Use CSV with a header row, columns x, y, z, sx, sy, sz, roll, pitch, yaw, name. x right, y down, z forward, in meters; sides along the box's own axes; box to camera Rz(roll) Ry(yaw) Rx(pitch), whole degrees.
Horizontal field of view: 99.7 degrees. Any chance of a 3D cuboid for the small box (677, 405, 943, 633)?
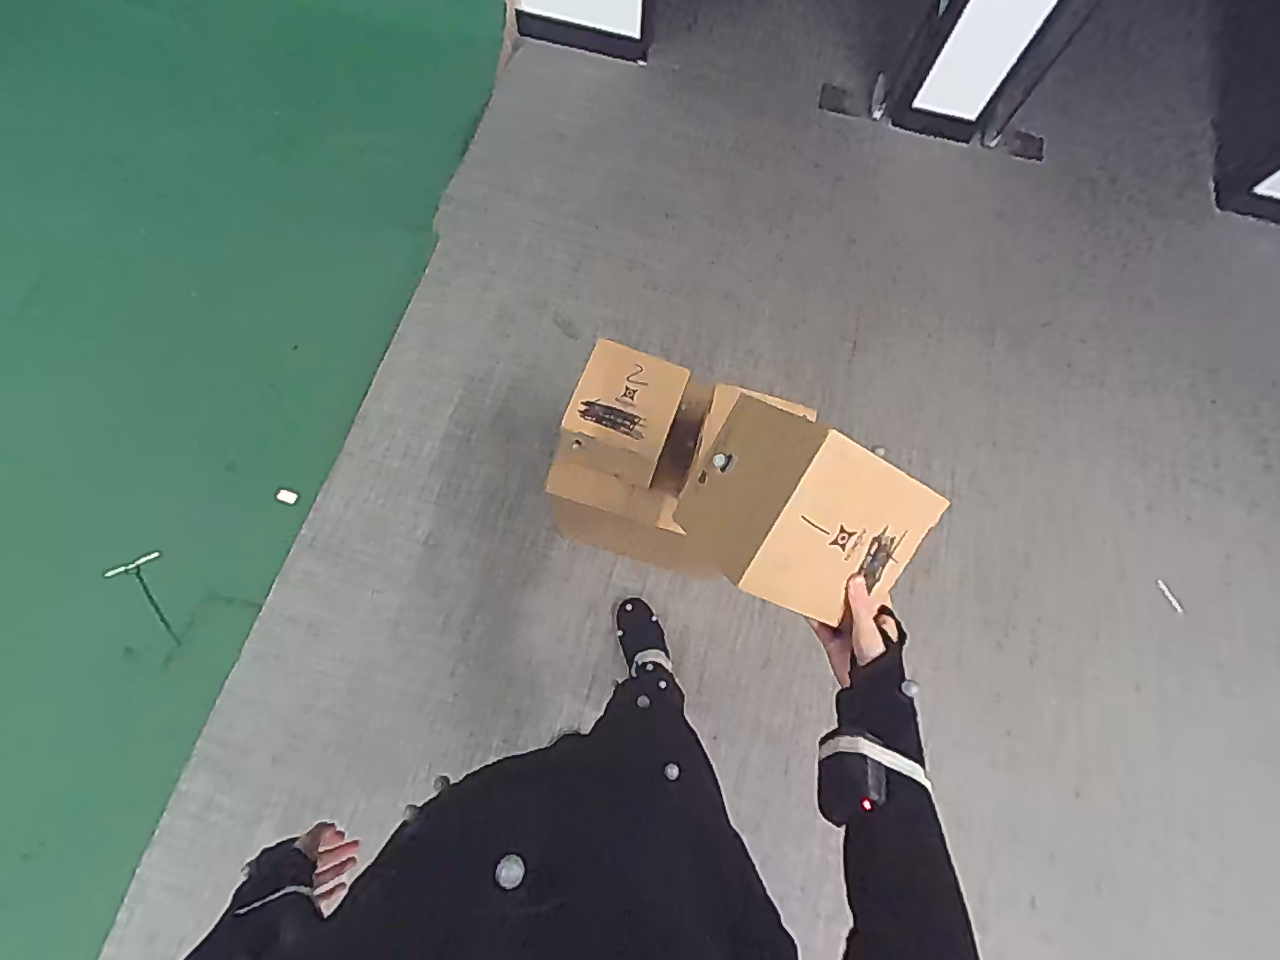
x,y,z,sx,sy,sz,roll,pitch,yaw,name
0.171,0.033,0.588,0.179,0.176,0.168,25,98,-23,small box
